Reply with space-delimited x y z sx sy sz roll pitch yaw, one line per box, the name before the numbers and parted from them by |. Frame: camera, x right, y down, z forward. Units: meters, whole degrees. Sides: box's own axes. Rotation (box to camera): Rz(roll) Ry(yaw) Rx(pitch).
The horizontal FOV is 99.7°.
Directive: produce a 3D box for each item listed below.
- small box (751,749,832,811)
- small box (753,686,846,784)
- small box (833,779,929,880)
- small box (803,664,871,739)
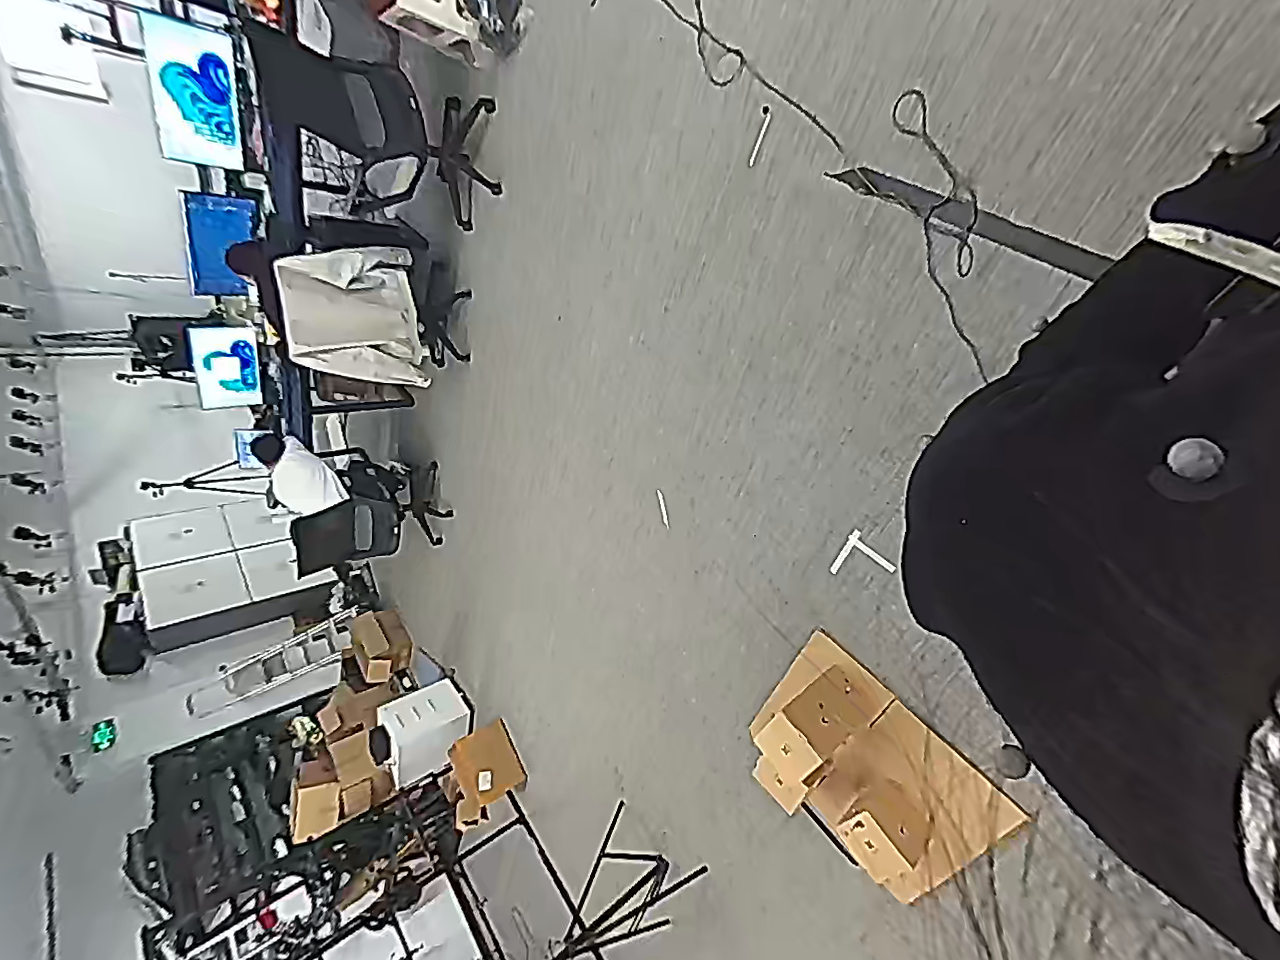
small box | 0.520 0.978 1.858 0.179 0.176 0.168 39 128 35
small box | 0.474 0.747 1.598 0.168 0.176 0.179 46 130 30
small box | 0.733 1.052 1.636 0.179 0.176 0.168 50 132 25
small box | 0.593 0.720 1.705 0.168 0.176 0.179 43 128 31
